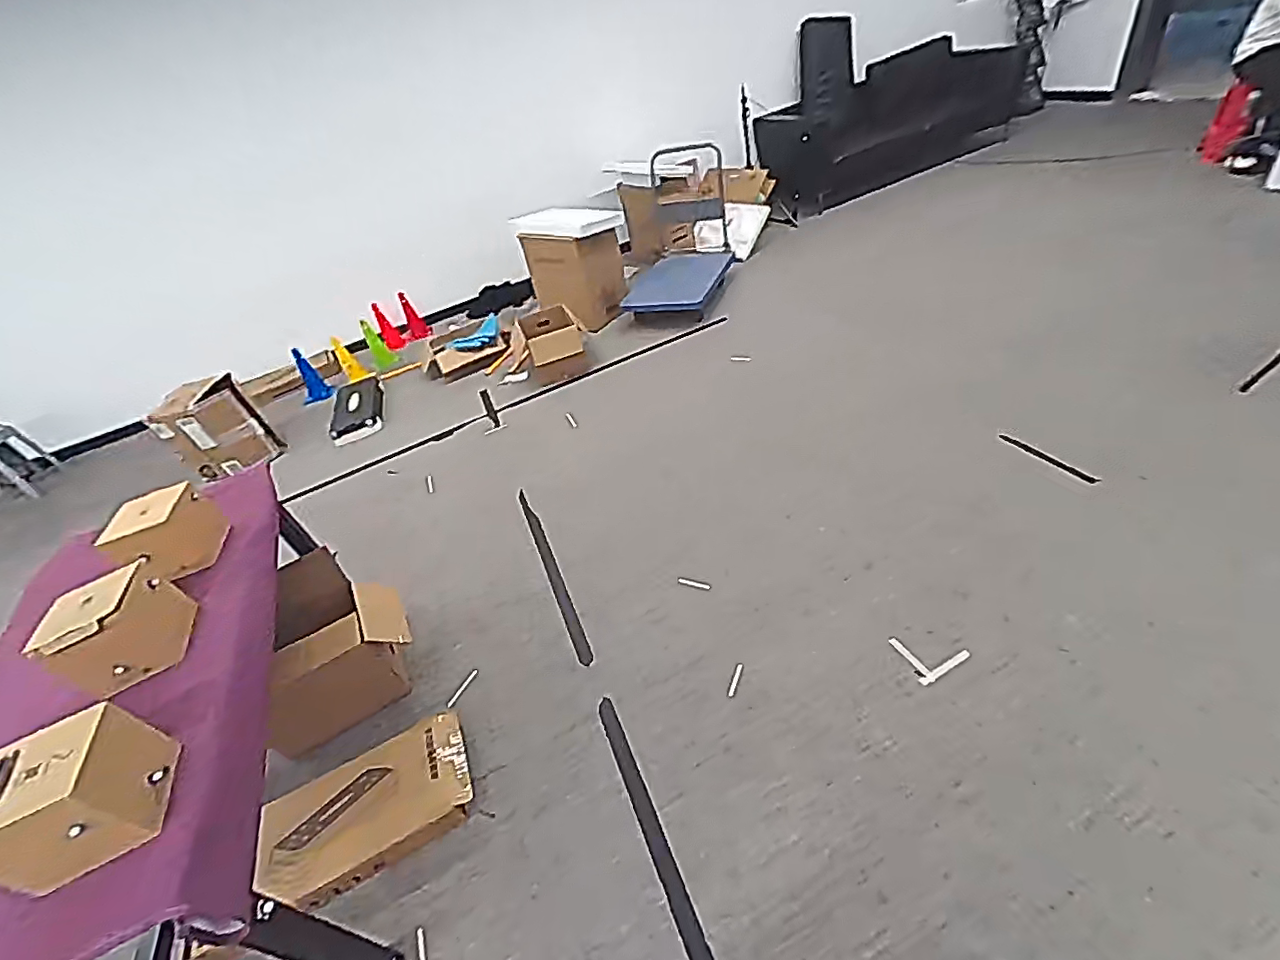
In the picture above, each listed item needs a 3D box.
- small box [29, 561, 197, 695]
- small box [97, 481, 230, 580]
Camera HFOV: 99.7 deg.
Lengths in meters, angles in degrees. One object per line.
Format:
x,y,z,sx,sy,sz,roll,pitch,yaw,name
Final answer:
-1.083,0.310,1.134,0.168,0.176,0.179,-28,40,-11,small box
-1.196,0.140,1.378,0.168,0.176,0.179,-21,39,-7,small box
